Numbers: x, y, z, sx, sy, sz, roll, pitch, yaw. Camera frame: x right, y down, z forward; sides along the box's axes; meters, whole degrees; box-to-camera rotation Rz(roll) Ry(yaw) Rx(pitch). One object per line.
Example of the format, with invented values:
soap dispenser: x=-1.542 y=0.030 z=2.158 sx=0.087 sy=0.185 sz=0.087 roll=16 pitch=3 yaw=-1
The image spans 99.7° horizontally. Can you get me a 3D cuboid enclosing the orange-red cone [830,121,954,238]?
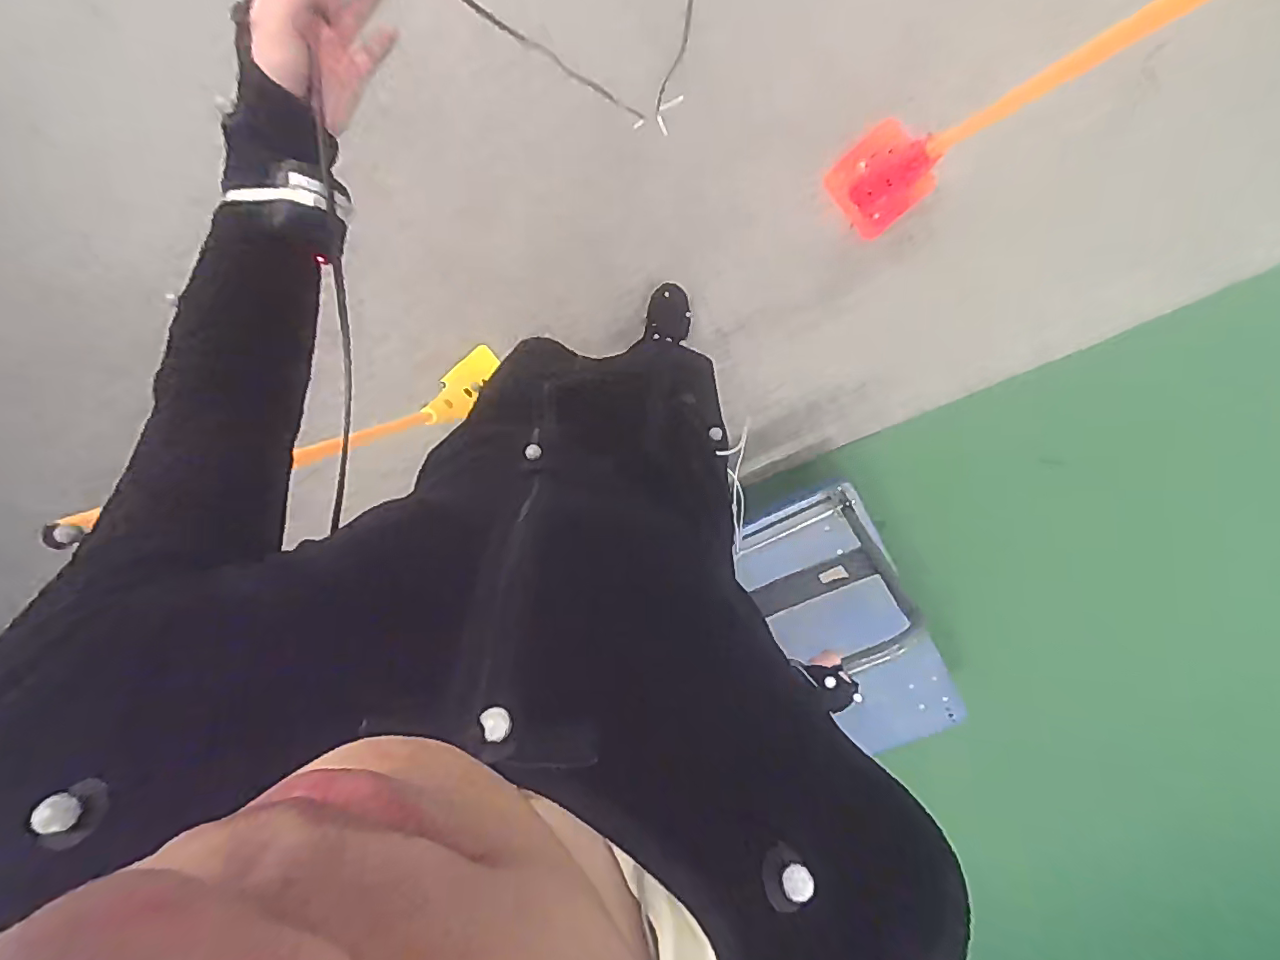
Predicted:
orange-red cone: x=0.572 y=-0.669 z=1.150 sx=0.199 sy=0.360 sz=0.198 roll=-39 pitch=102 yaw=16
